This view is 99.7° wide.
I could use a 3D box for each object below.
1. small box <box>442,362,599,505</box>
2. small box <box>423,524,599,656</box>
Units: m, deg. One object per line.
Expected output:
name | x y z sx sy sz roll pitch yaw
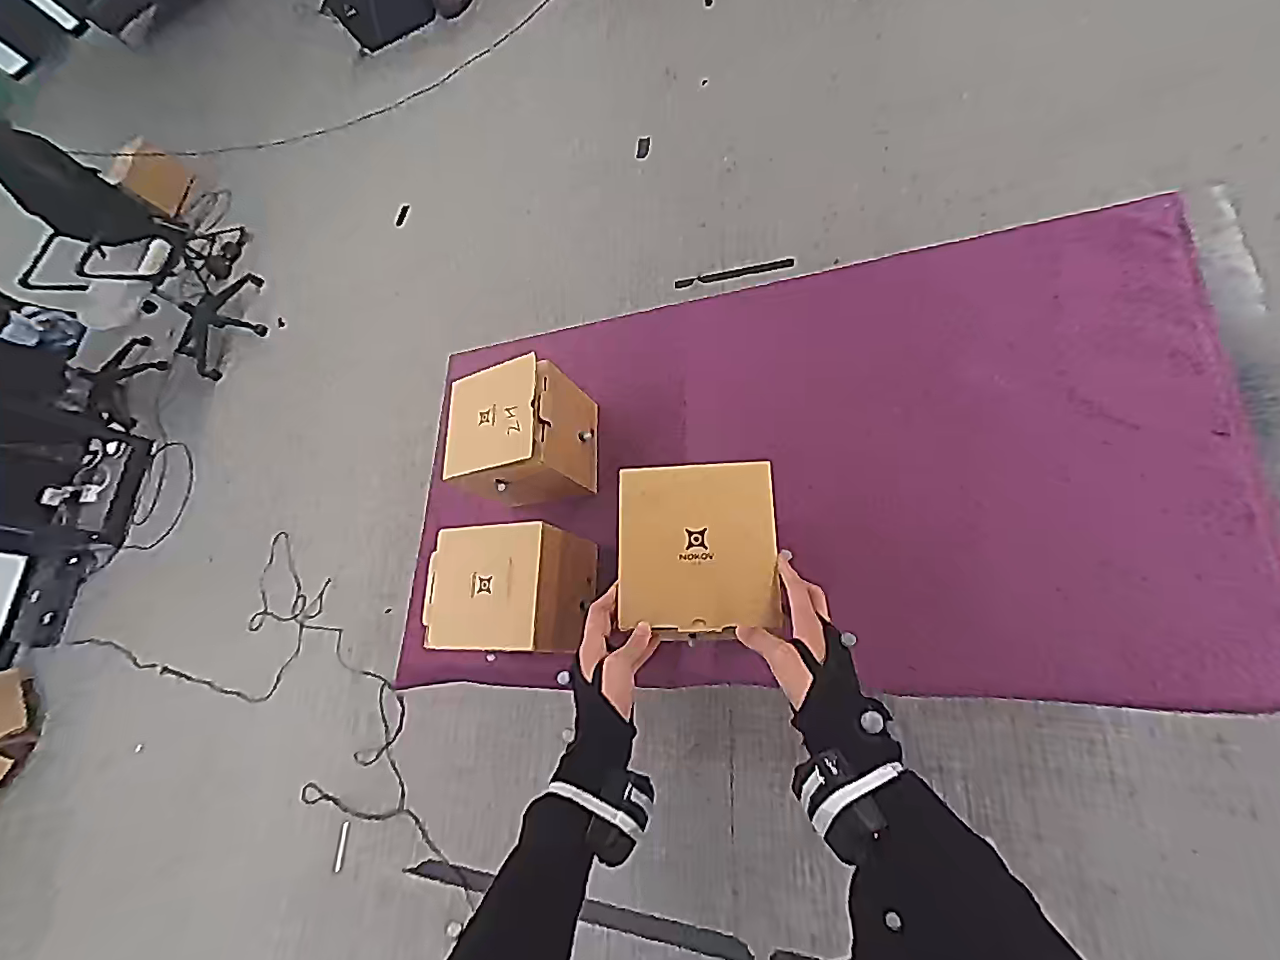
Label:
small box | -0.183 -0.063 0.865 0.179 0.176 0.168 -7 70 21
small box | -0.178 0.165 0.787 0.179 0.176 0.168 -5 71 21
